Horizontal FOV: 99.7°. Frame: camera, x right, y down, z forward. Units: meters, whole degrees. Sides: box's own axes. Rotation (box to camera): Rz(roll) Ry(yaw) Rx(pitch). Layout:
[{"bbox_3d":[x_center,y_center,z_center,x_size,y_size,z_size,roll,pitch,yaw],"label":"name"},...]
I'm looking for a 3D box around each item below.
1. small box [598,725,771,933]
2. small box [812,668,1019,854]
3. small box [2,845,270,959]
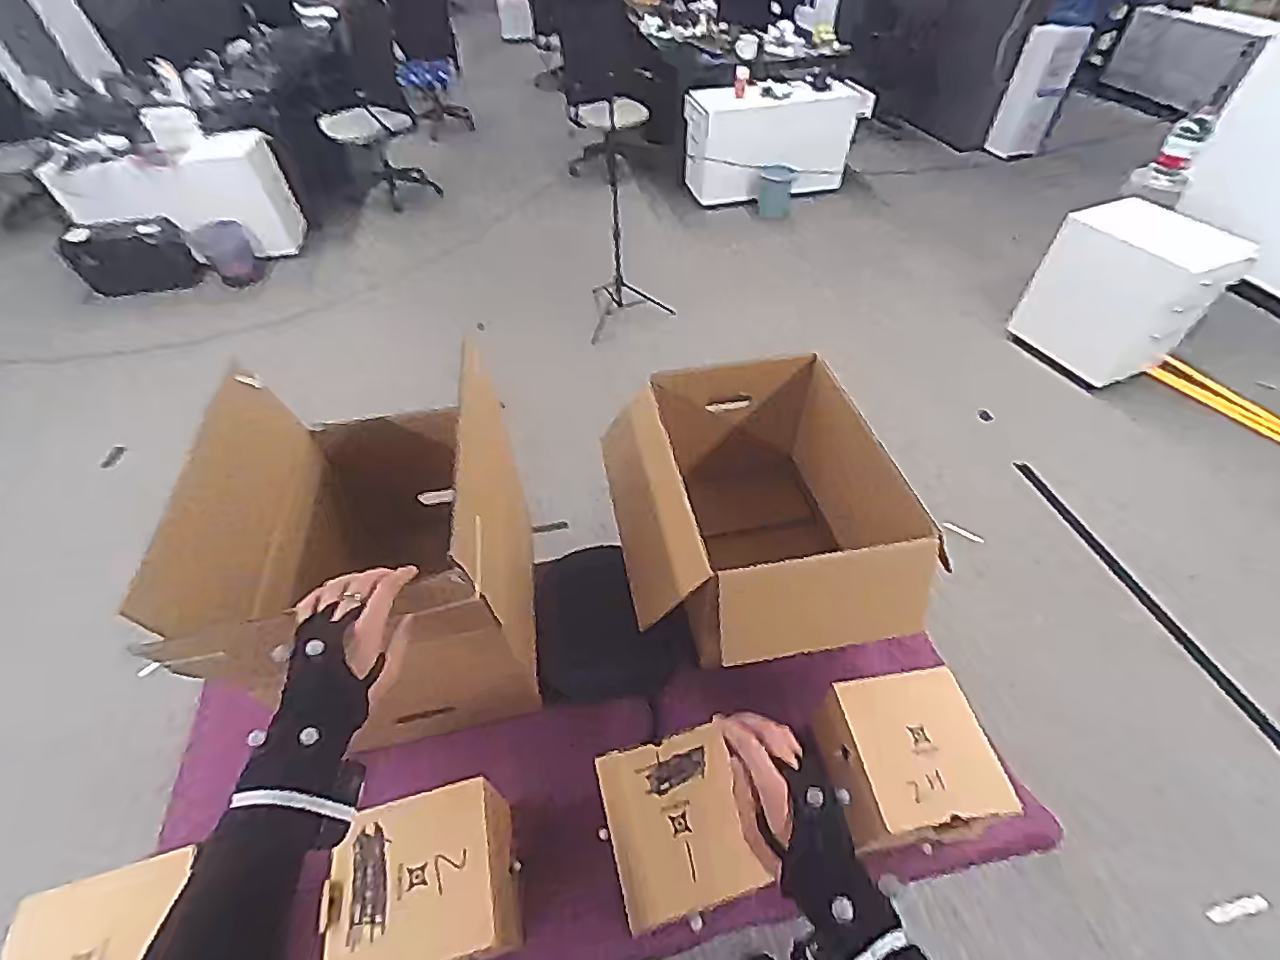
[{"bbox_3d":[0.046,0.445,0.690,0.168,0.176,0.179,-13,51,-8],"label":"small box"},{"bbox_3d":[0.350,0.382,0.734,0.168,0.176,0.179,-7,49,-3],"label":"small box"},{"bbox_3d":[-0.570,0.551,0.617,0.179,0.176,0.168,-12,50,-11],"label":"small box"}]
